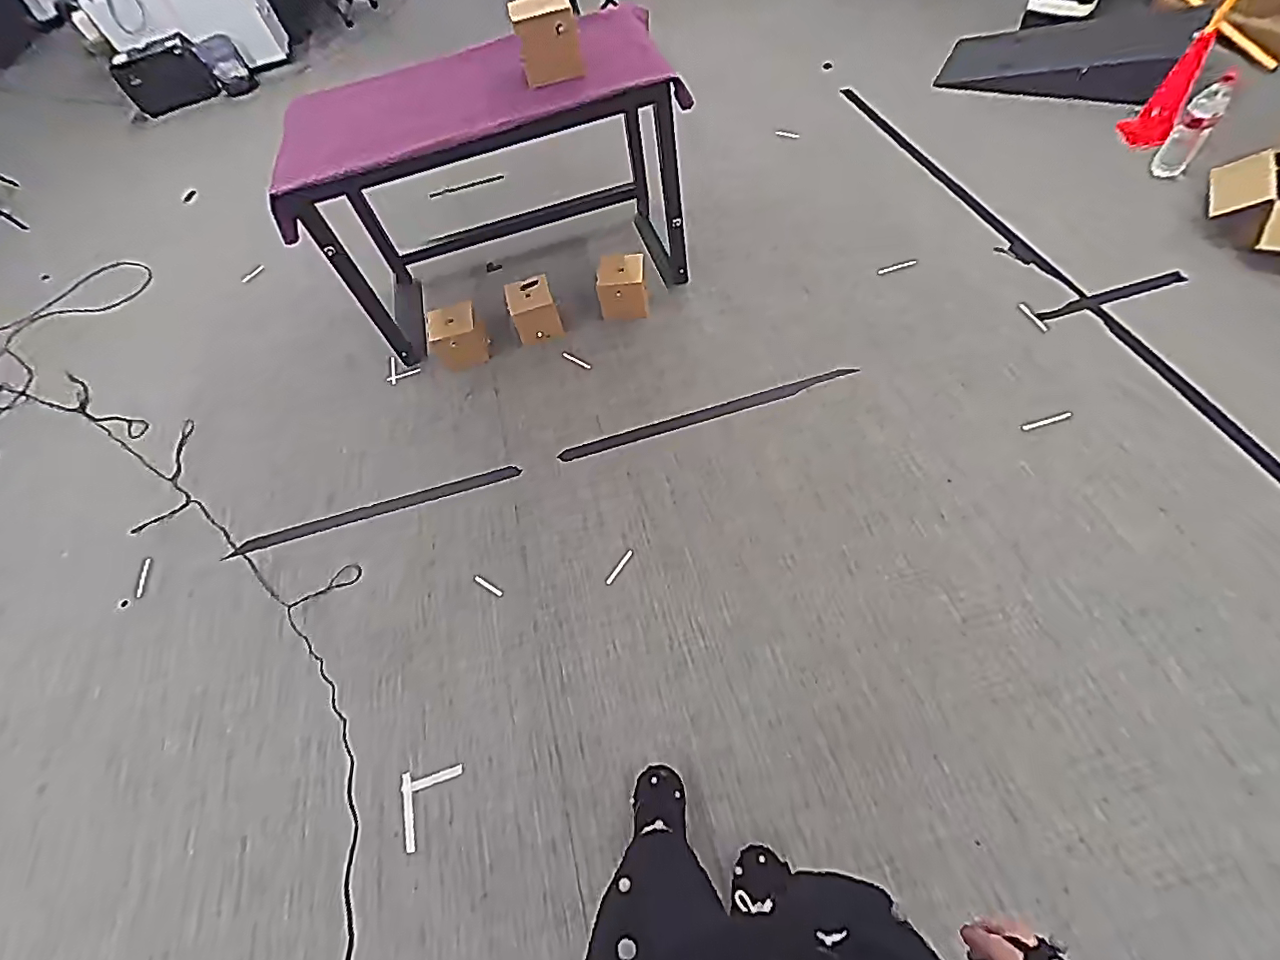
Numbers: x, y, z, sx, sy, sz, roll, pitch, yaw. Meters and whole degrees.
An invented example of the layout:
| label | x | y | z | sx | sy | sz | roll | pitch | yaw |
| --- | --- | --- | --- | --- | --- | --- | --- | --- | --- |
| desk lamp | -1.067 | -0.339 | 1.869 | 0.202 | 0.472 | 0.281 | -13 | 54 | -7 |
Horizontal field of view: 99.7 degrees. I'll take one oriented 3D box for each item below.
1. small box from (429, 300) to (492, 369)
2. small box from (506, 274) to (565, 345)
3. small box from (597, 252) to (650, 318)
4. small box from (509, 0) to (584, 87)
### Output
| label | x | y | z | sx | sy | sz | roll | pitch | yaw |
| --- | --- | --- | --- | --- | --- | --- | --- | --- | --- |
| small box | -0.690 | -0.555 | 2.081 | 0.179 | 0.176 | 0.168 | -16 | 59 | -1 |
| small box | -0.403 | -0.658 | 2.092 | 0.168 | 0.176 | 0.179 | -18 | 59 | -1 |
| small box | -0.057 | -0.749 | 2.089 | 0.179 | 0.176 | 0.168 | -3 | 59 | 9 |
| small box | -0.272 | -1.312 | 1.604 | 0.179 | 0.176 | 0.168 | -16 | 57 | 1 |
